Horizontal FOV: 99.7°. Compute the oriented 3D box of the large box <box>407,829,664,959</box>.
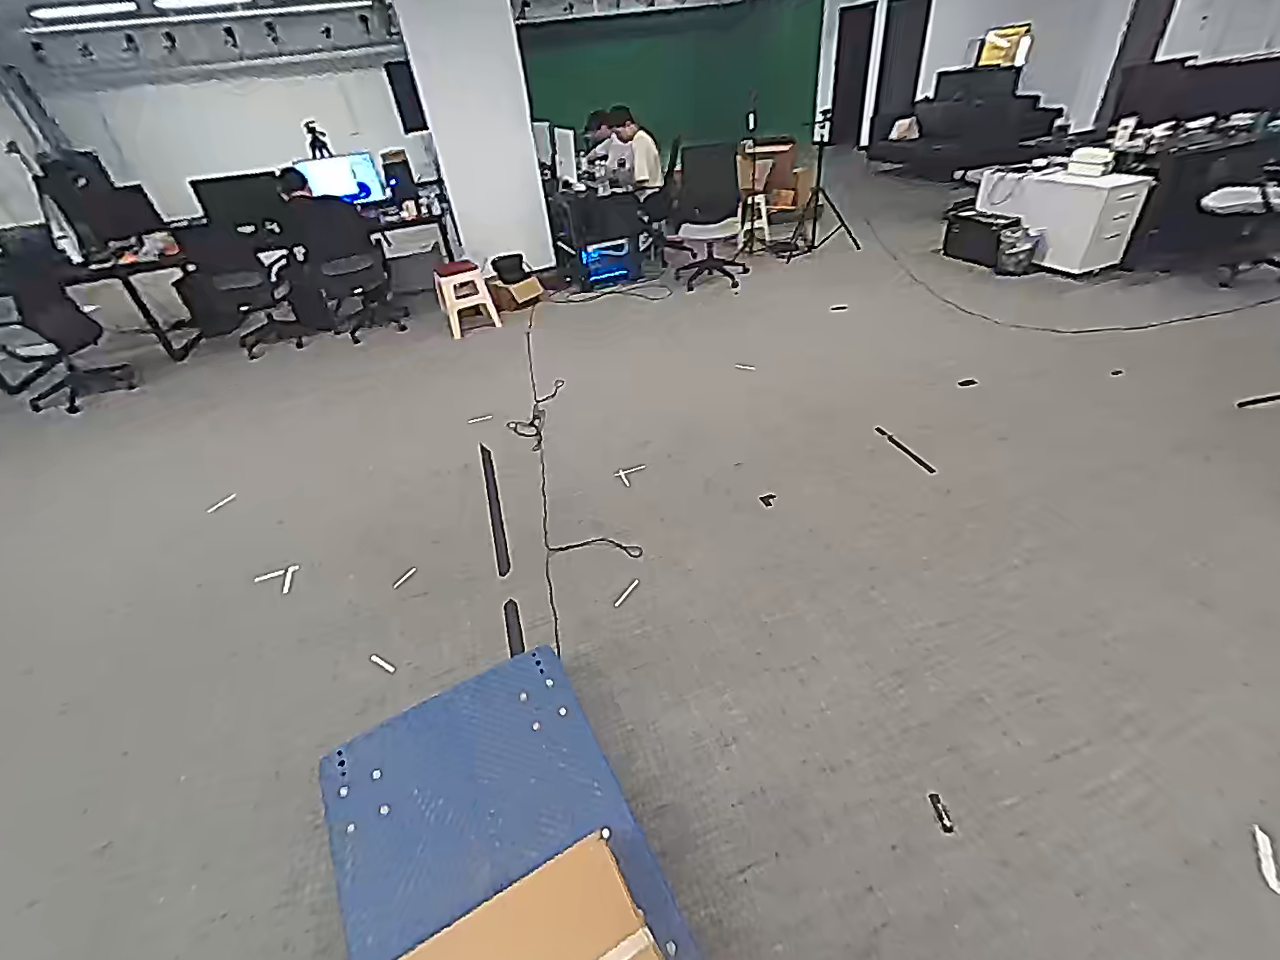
[{"bbox_3d":[-0.160,0.856,0.862,0.408,0.320,0.320,-23,54,-21],"label":"large box"}]
